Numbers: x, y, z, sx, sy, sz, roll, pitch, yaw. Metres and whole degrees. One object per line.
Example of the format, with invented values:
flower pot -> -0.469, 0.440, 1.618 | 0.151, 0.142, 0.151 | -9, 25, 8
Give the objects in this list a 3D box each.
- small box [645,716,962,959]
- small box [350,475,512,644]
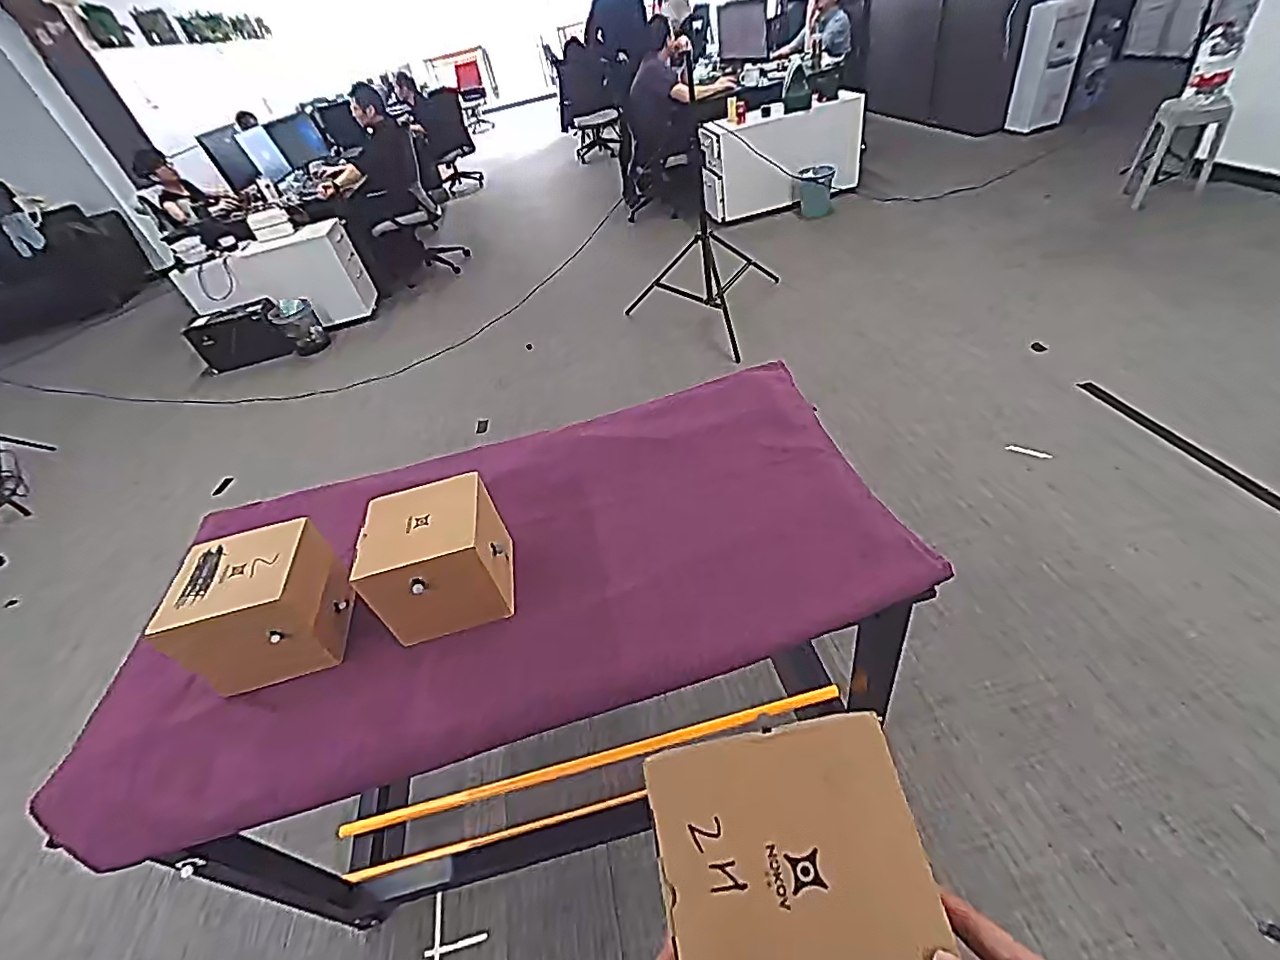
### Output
small box -> 0.111, 0.289, 0.429 | 0.179, 0.176, 0.168 | -13, 64, 3
small box -> -0.303, 0.123, 0.831 | 0.179, 0.176, 0.168 | -16, 41, -1
